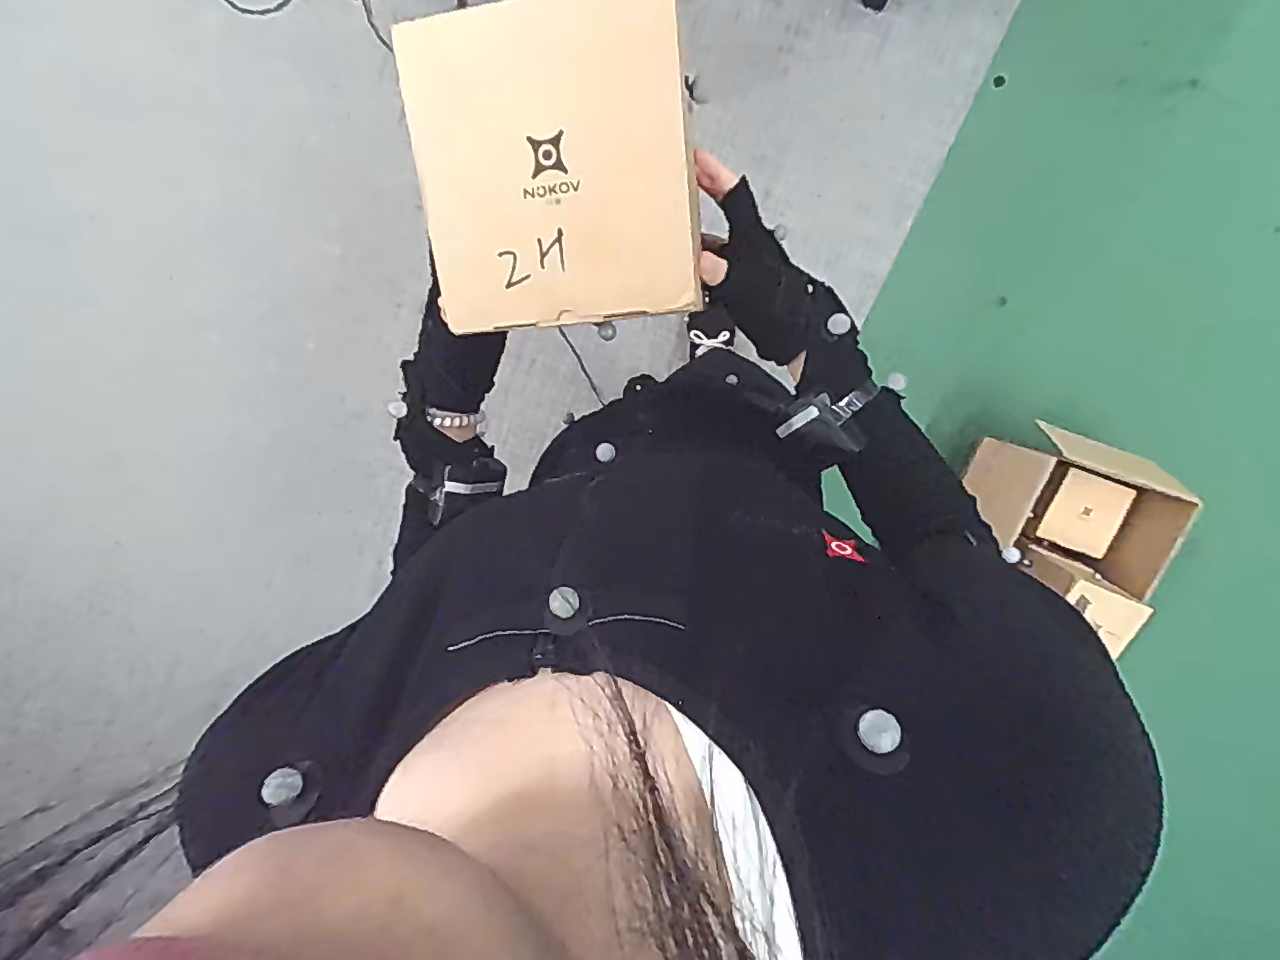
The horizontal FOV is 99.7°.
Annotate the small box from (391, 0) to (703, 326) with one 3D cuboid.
[{"bbox_3d":[-0.043,-0.209,0.393,0.168,0.176,0.179,-3,107,10],"label":"small box"}]
